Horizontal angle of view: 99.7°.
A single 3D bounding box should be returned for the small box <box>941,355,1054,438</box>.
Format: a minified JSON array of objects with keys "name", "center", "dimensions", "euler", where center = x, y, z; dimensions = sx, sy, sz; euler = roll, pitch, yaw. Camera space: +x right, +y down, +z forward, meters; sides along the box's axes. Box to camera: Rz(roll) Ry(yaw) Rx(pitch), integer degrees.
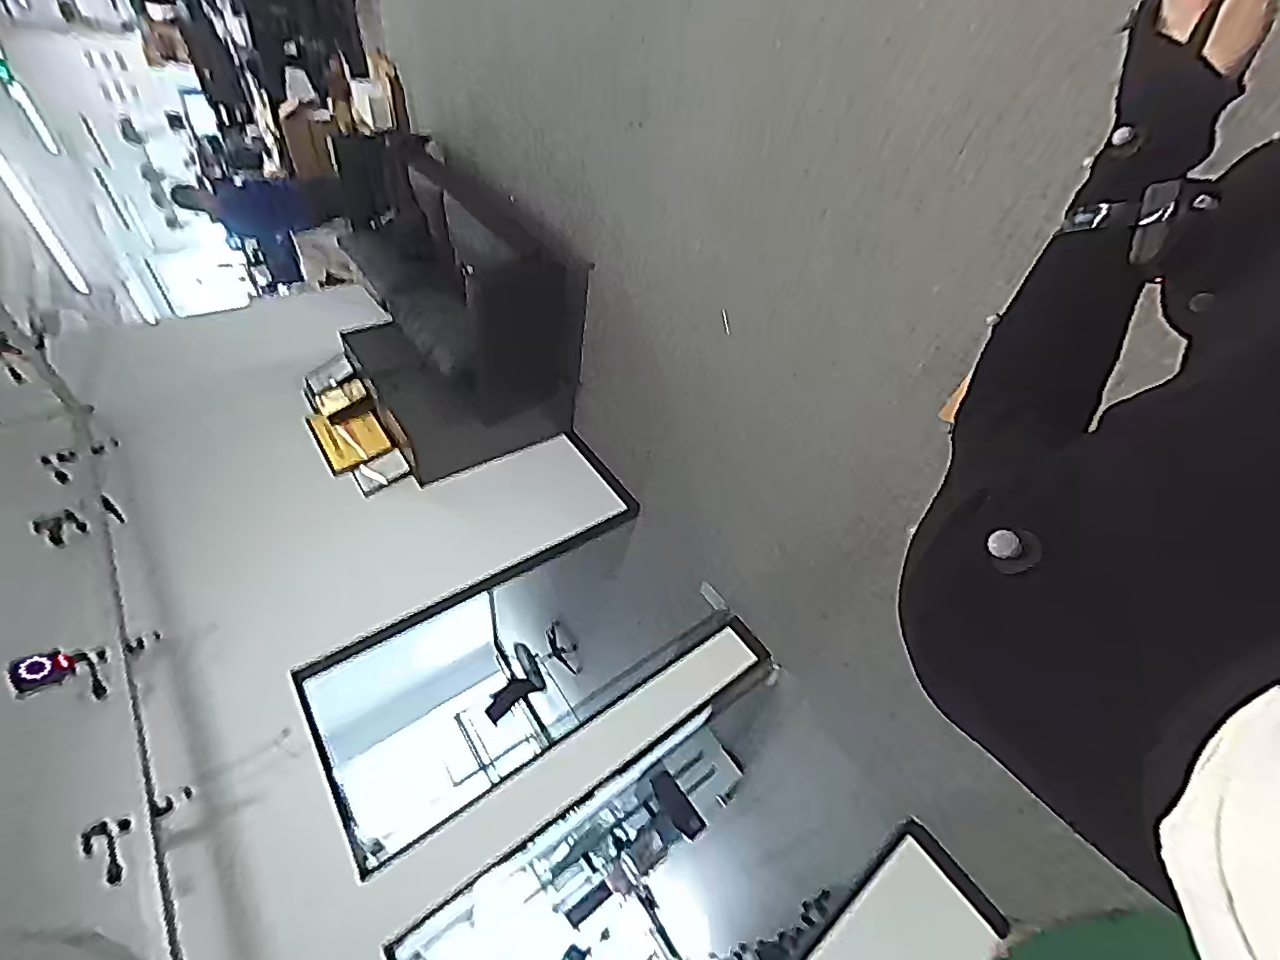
[{"name":"small box","center":[0.969,-0.213,1.460],"dimensions":[0.168,0.176,0.179],"euler":[47,146,28]}]
